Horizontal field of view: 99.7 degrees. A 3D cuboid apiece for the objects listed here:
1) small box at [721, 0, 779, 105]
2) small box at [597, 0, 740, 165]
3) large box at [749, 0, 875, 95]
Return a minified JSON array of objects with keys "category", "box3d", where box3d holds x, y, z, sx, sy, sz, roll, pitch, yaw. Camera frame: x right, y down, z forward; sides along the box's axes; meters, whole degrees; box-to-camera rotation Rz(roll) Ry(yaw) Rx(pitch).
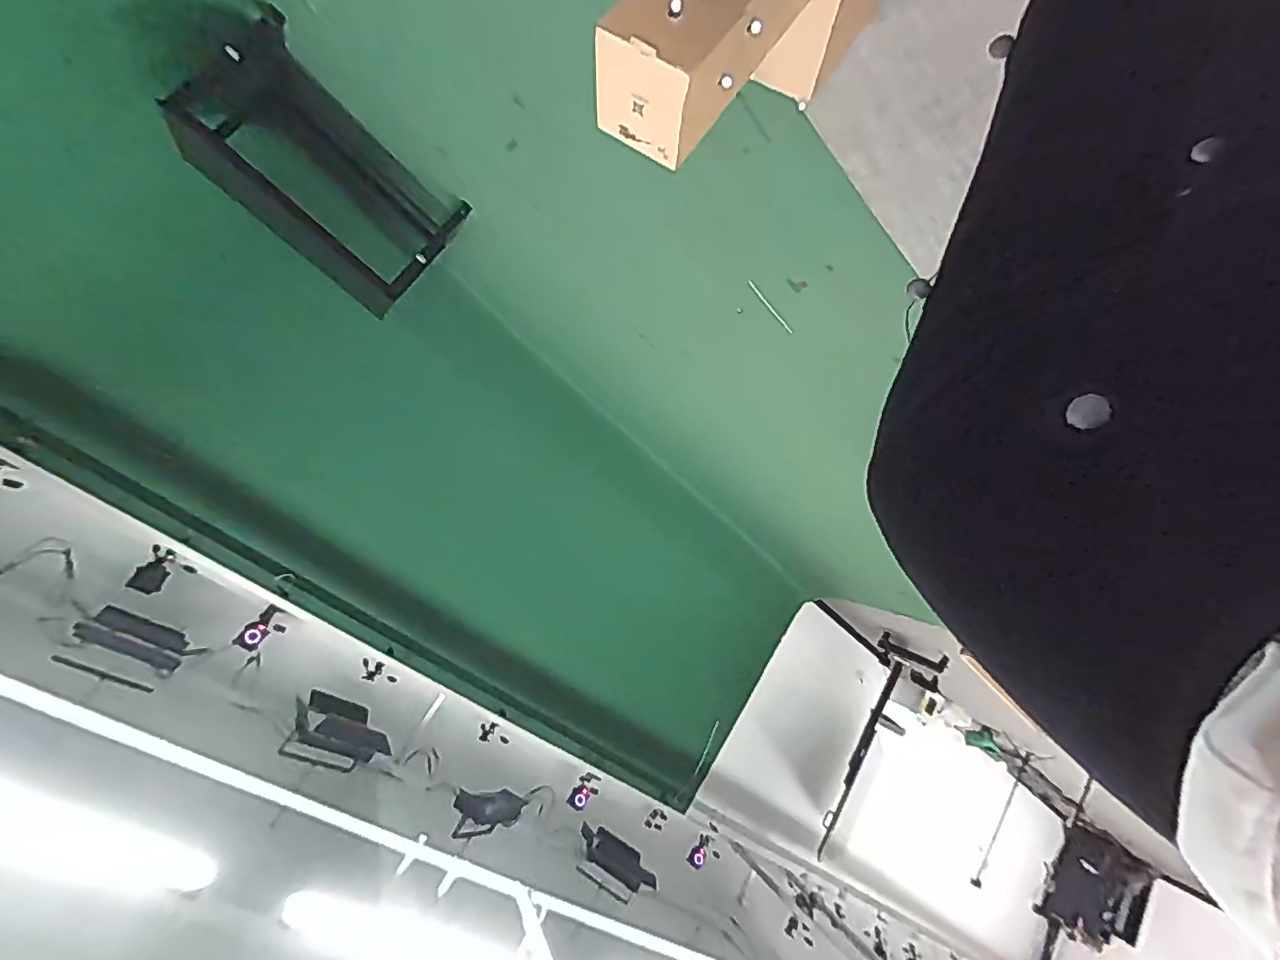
[{"category":"small box","box3d":[0.129,-0.811,0.928,0.168,0.176,0.179,33,166,5]},{"category":"small box","box3d":[0.044,-0.677,0.886,0.168,0.176,0.179,33,165,5]},{"category":"large box","box3d":[0.340,-1.128,1.098,0.320,0.320,0.408,33,167,10]}]
